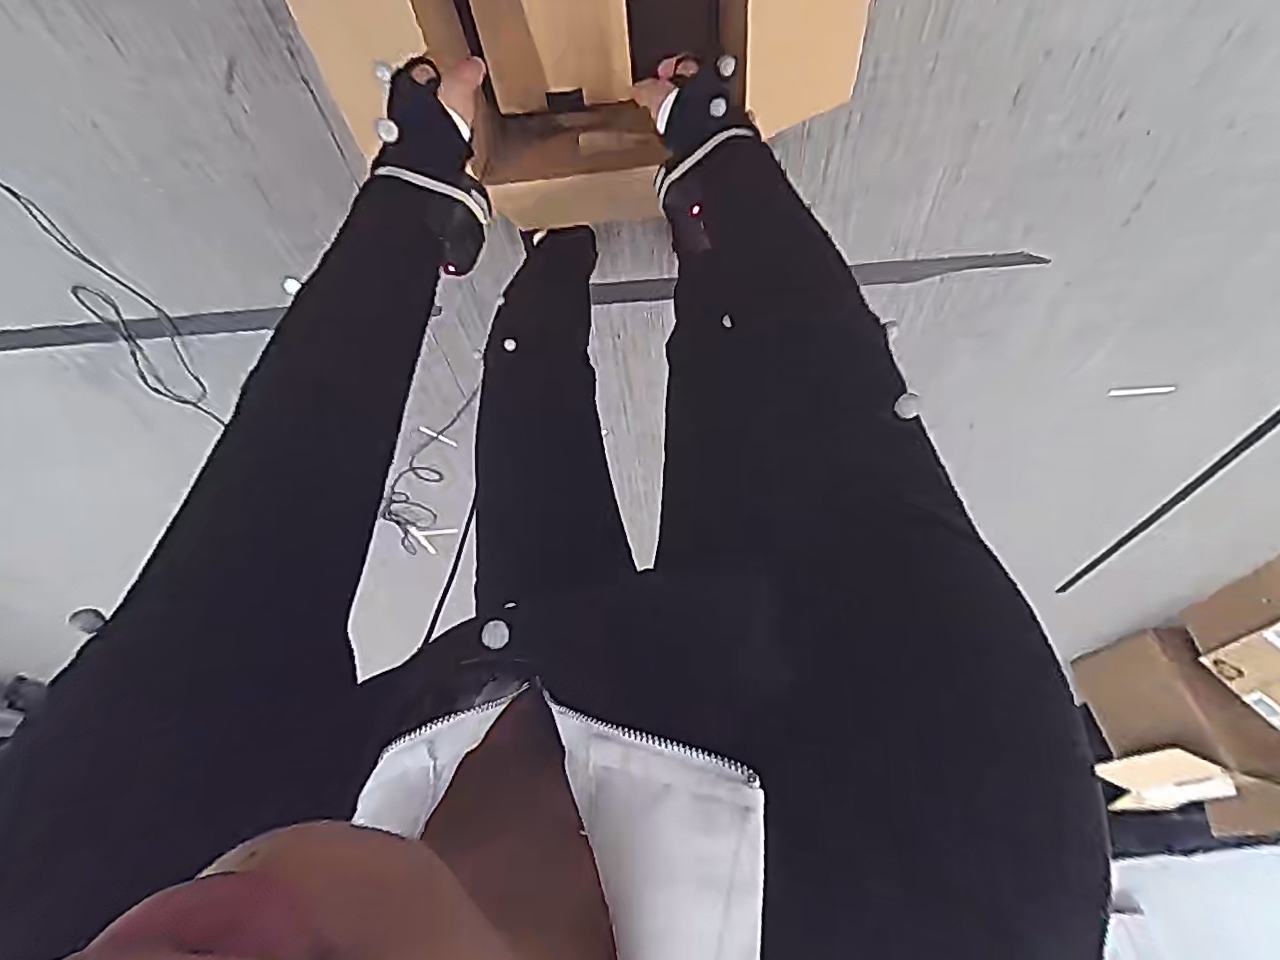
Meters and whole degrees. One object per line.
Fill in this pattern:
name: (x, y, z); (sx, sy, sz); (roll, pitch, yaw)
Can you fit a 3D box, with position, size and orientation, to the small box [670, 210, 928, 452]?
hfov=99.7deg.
small box: (0.127, -0.139, 0.495); (0.176, 0.179, 0.168); (13, 112, 6)
